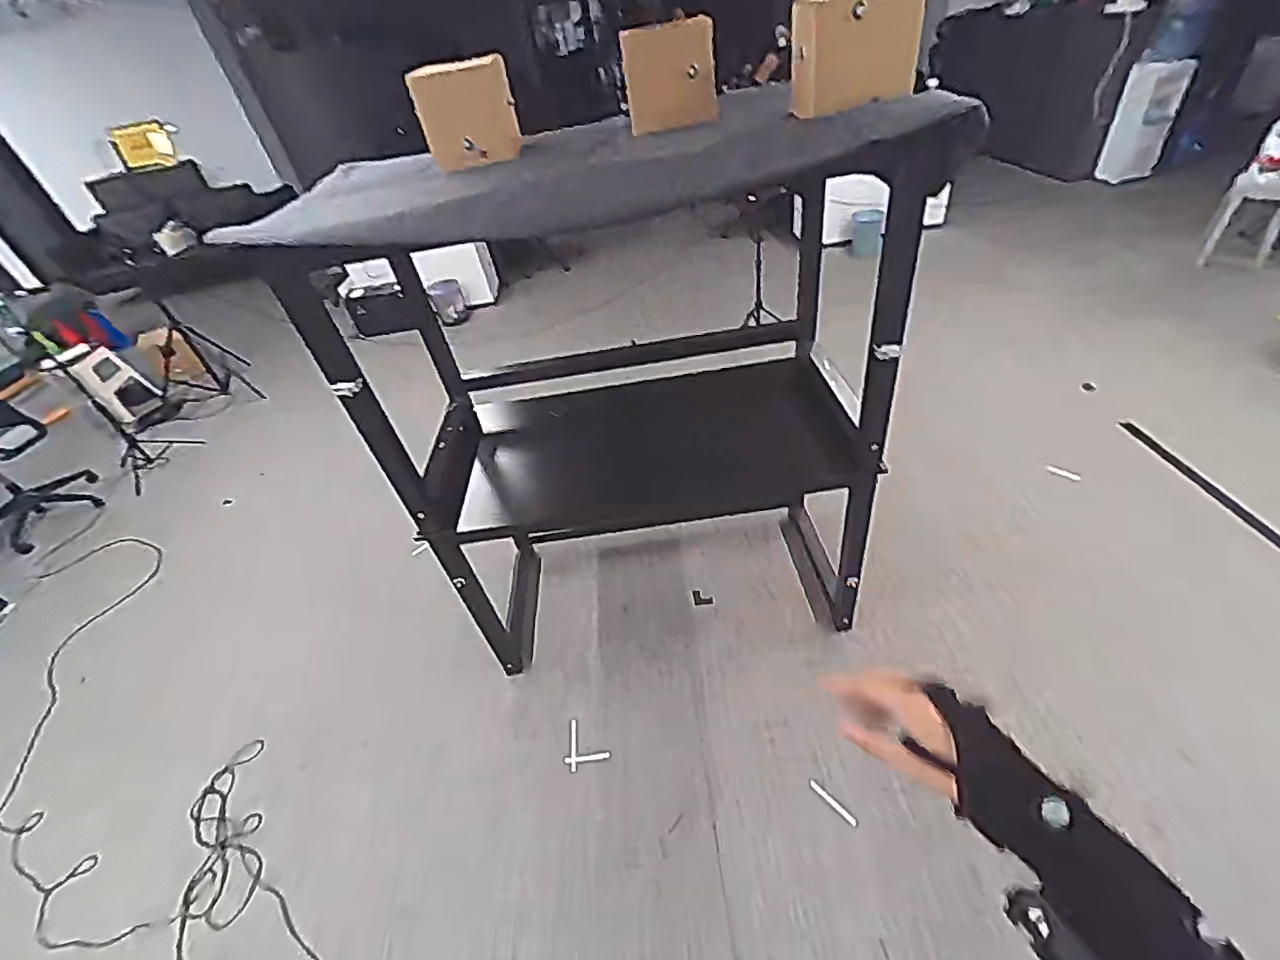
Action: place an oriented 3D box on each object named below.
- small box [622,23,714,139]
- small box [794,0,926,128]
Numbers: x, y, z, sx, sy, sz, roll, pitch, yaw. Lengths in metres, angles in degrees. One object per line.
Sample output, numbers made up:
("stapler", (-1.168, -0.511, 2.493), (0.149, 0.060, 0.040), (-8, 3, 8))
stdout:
("small box", (0.061, -0.834, 1.131), (0.179, 0.176, 0.168), (-7, 40, 4))
("small box", (0.364, -0.724, 0.932), (0.168, 0.176, 0.179), (-7, 40, 6))
